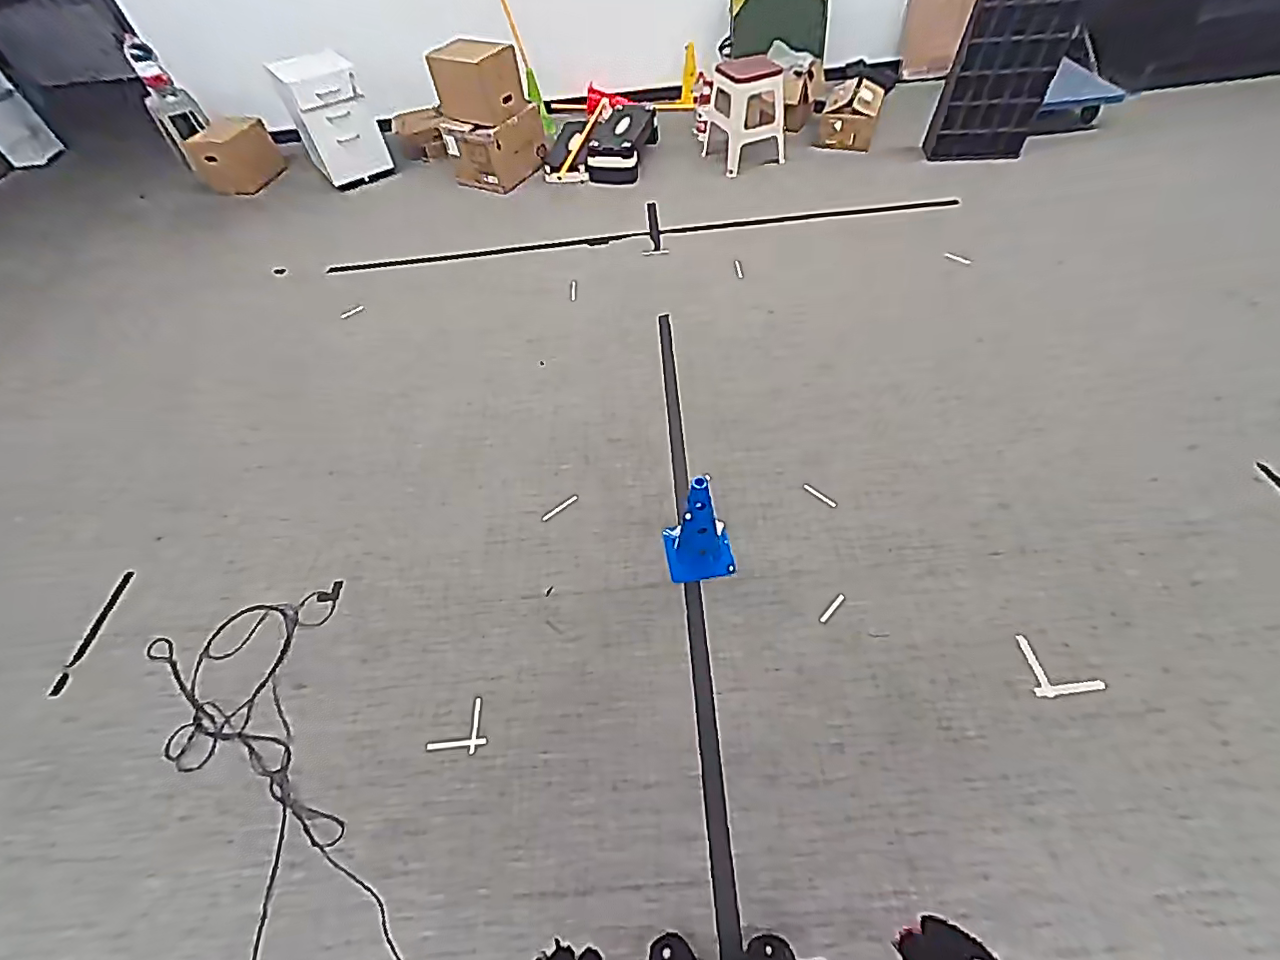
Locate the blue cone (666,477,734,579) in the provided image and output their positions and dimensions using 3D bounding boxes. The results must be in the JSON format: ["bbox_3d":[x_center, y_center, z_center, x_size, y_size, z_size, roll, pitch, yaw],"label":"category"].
[{"bbox_3d":[0.172,0.119,1.549,0.192,0.380,0.193,-7,52,-1],"label":"blue cone"}]
